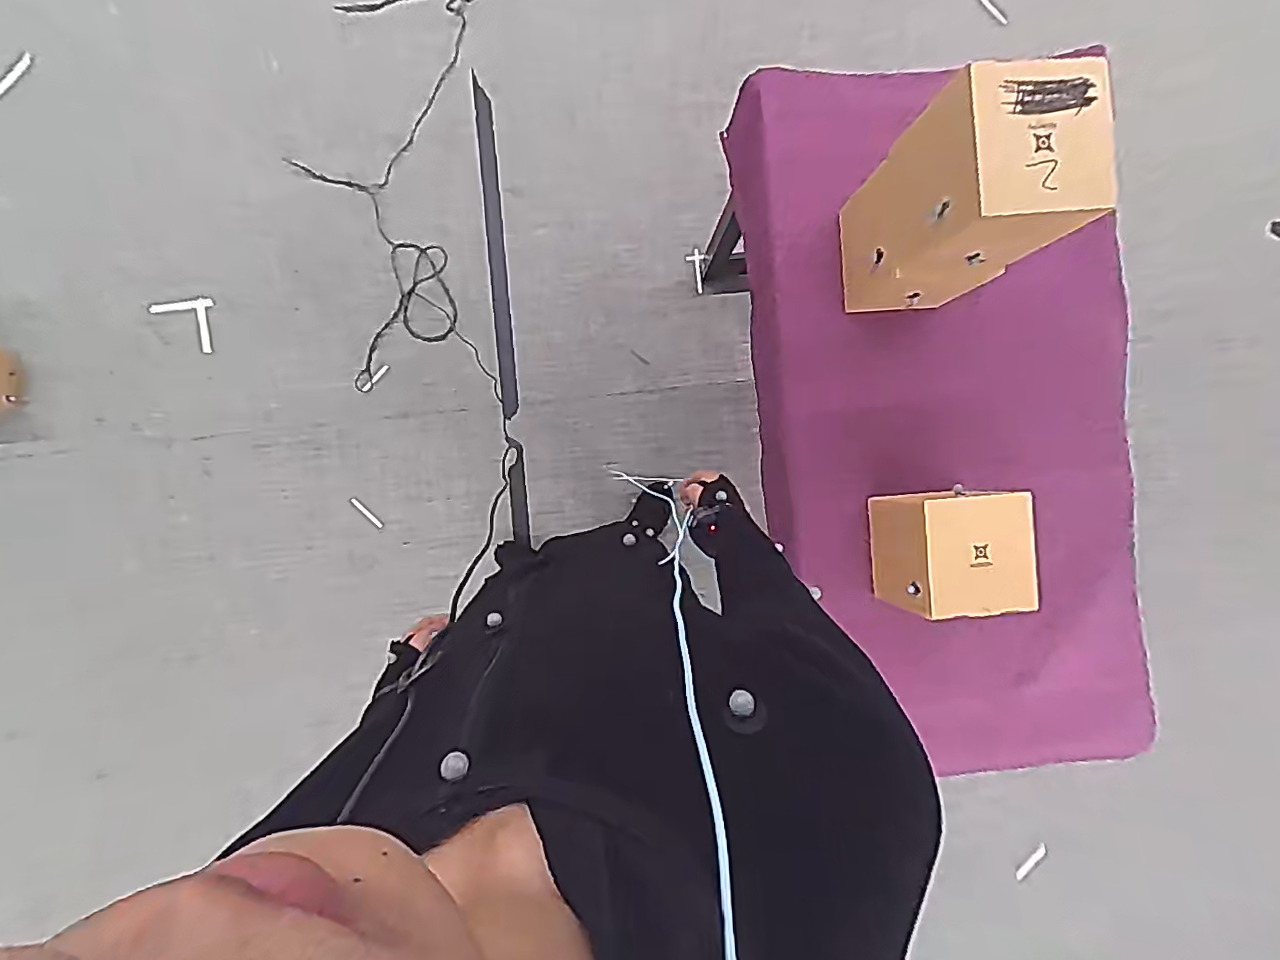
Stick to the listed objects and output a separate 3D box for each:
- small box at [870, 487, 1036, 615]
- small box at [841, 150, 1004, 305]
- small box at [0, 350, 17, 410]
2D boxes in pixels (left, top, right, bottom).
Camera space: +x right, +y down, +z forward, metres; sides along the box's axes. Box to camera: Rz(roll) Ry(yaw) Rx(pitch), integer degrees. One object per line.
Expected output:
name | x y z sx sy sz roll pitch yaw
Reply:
small box | 0.484 0.103 0.860 0.168 0.176 0.179 -4 91 -4
small box | 0.432 -0.382 0.849 0.168 0.176 0.179 -4 91 -4
small box | -1.845 -0.277 1.450 0.179 0.176 0.168 -3 90 -2
